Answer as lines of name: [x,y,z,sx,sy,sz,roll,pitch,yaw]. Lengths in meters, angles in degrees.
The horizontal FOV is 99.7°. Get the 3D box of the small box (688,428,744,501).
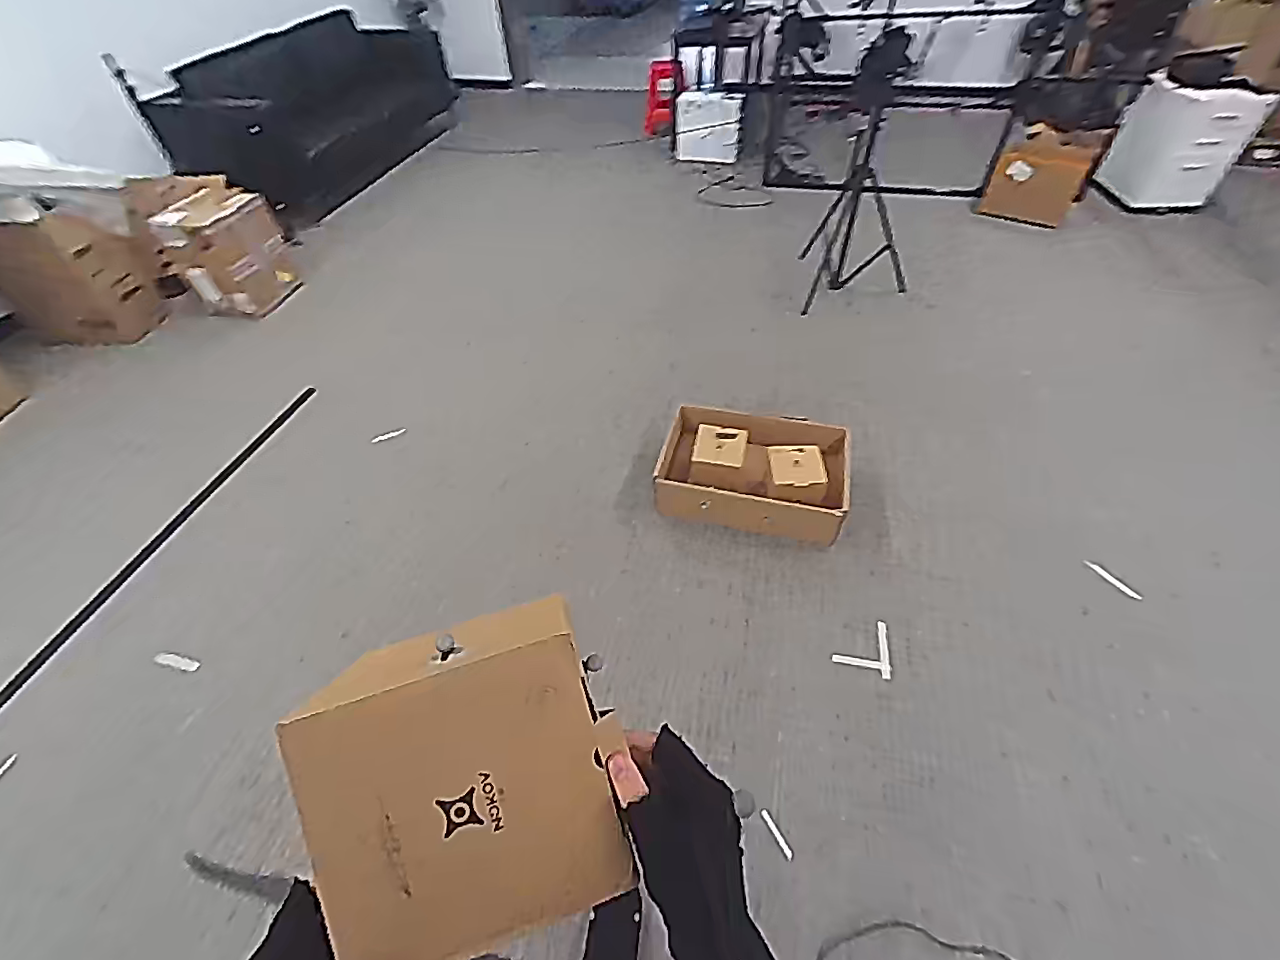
small box: [0.262,-0.052,1.882,0.168,0.176,0.179,9,49,9]
